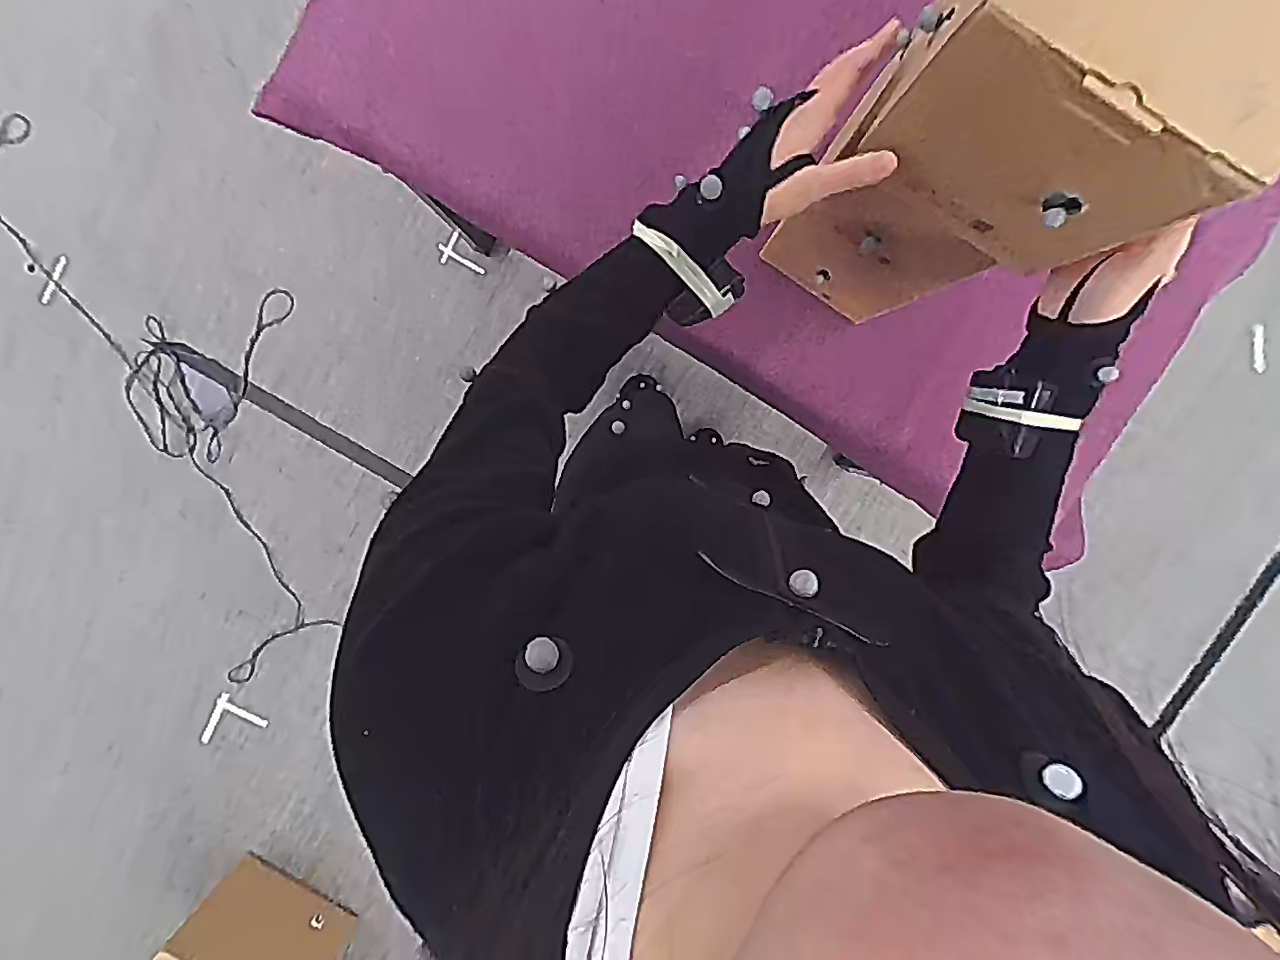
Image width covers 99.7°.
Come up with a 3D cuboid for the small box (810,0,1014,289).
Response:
[{"bbox_3d":[0.280,-0.301,0.478,0.168,0.176,0.179,33,97,-4],"label":"small box"}]

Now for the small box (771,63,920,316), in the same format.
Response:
[{"bbox_3d":[0.275,-0.320,0.641,0.168,0.176,0.179,33,96,-4],"label":"small box"}]

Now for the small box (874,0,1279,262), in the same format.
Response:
[{"bbox_3d":[0.270,-0.261,0.319,0.168,0.176,0.179,29,96,-4],"label":"small box"}]
